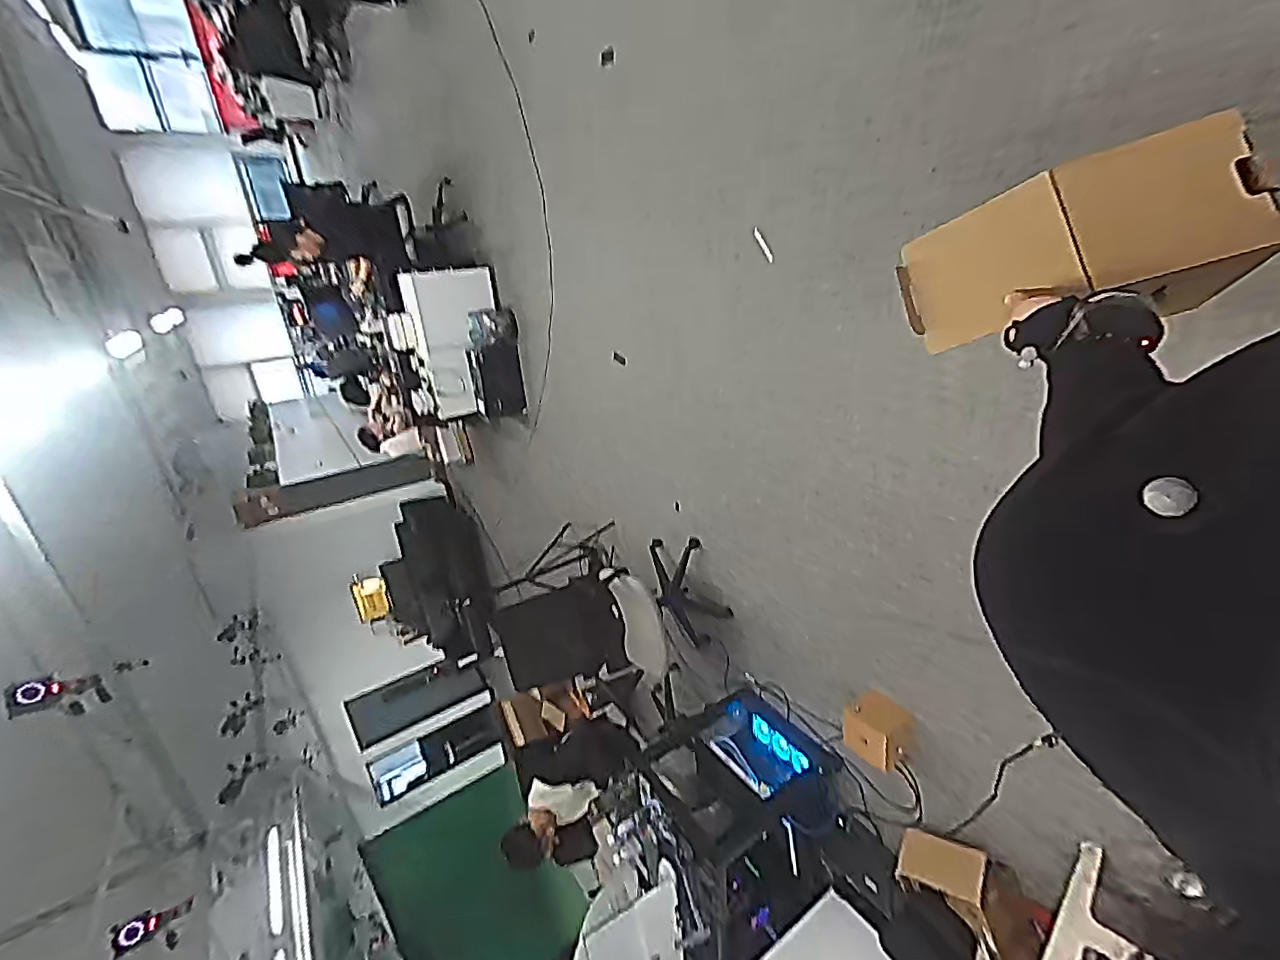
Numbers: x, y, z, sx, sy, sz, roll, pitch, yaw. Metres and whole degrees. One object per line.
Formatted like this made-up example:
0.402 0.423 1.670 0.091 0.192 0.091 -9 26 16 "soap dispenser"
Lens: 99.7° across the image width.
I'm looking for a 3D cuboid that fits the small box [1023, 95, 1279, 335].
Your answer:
0.591 -0.295 0.649 0.179 0.176 0.168 -13 80 20 "small box"
